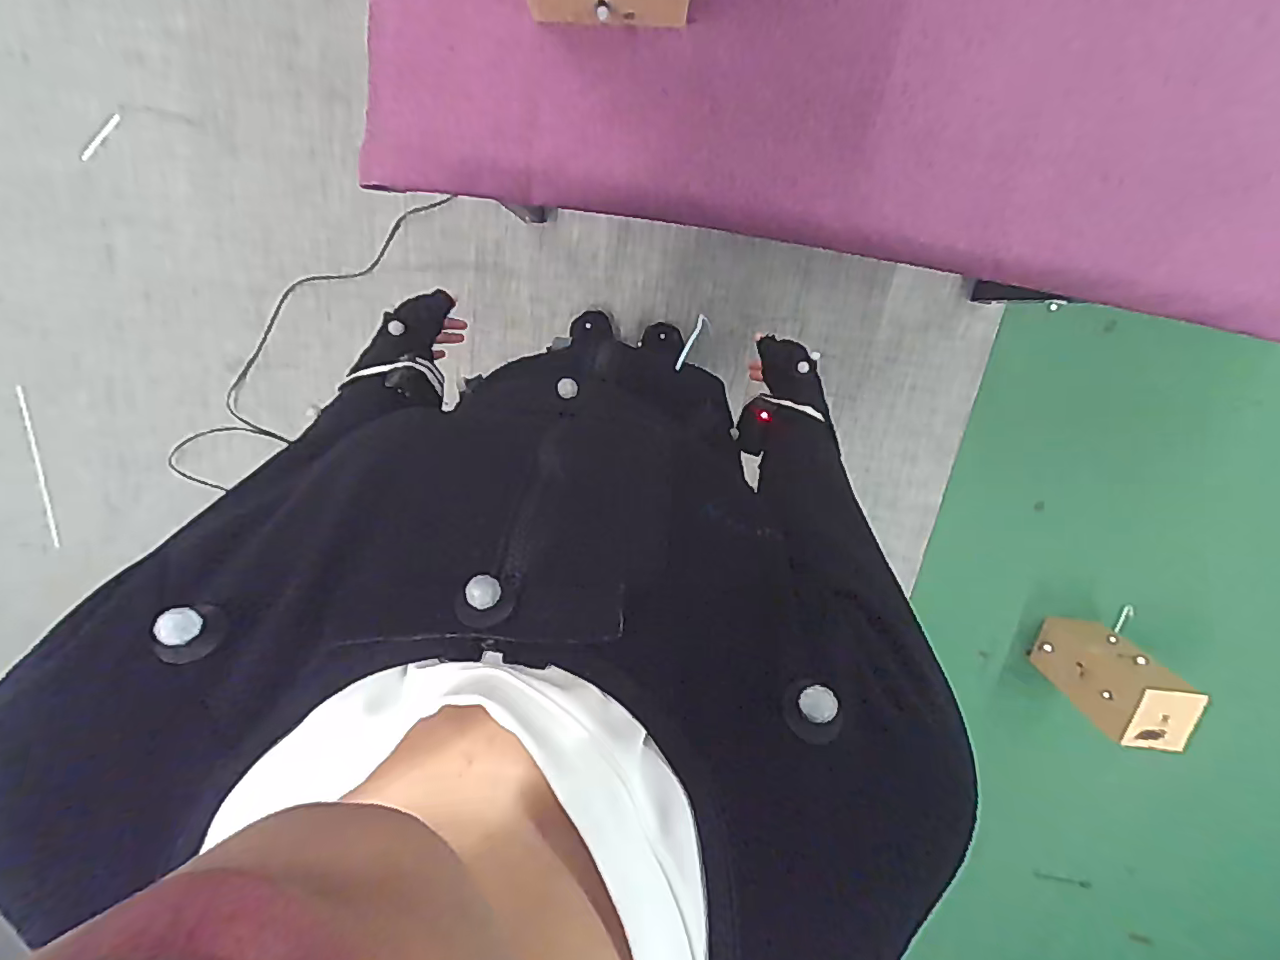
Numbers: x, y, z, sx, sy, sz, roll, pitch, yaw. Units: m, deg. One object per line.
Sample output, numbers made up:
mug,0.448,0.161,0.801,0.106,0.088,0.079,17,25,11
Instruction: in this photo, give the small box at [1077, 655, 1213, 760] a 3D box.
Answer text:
small box,1.304,0.591,1.415,0.168,0.176,0.179,9,109,-5

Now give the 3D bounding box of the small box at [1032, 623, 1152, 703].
small box,1.302,0.534,1.572,0.179,0.176,0.168,8,107,-2
